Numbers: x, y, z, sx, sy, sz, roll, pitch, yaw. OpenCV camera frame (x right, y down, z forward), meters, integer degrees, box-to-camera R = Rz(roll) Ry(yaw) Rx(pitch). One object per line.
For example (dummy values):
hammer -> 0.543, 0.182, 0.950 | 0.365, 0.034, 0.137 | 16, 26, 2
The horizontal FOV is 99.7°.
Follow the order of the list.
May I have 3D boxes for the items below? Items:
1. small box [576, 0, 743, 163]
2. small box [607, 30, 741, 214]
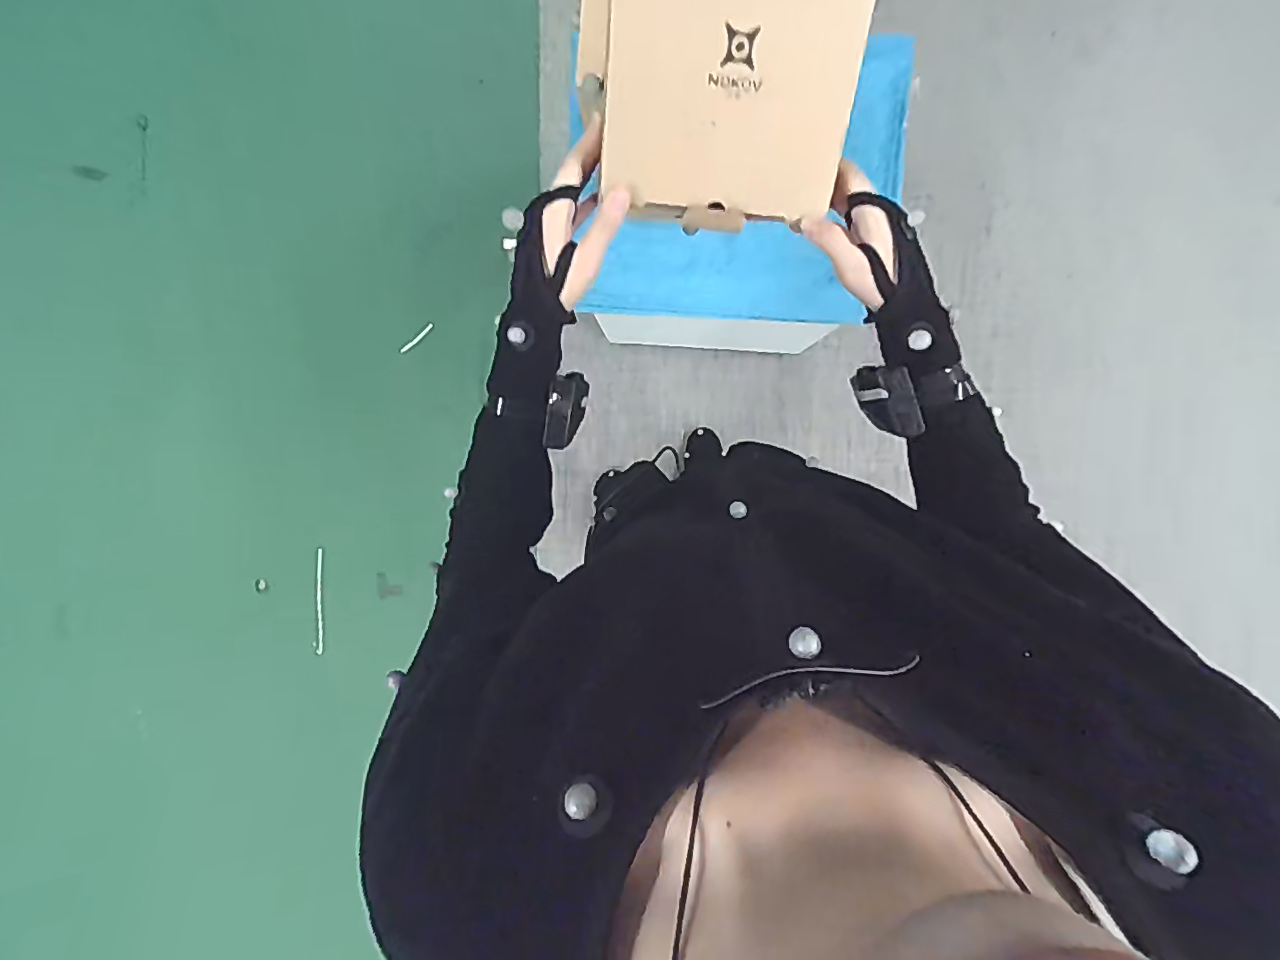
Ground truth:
small box -> 0.027, -0.495, 0.621 | 0.168, 0.176, 0.179 | 5, 93, 2
small box -> 0.047, -0.507, 0.781 | 0.168, 0.176, 0.179 | 3, 94, 2
